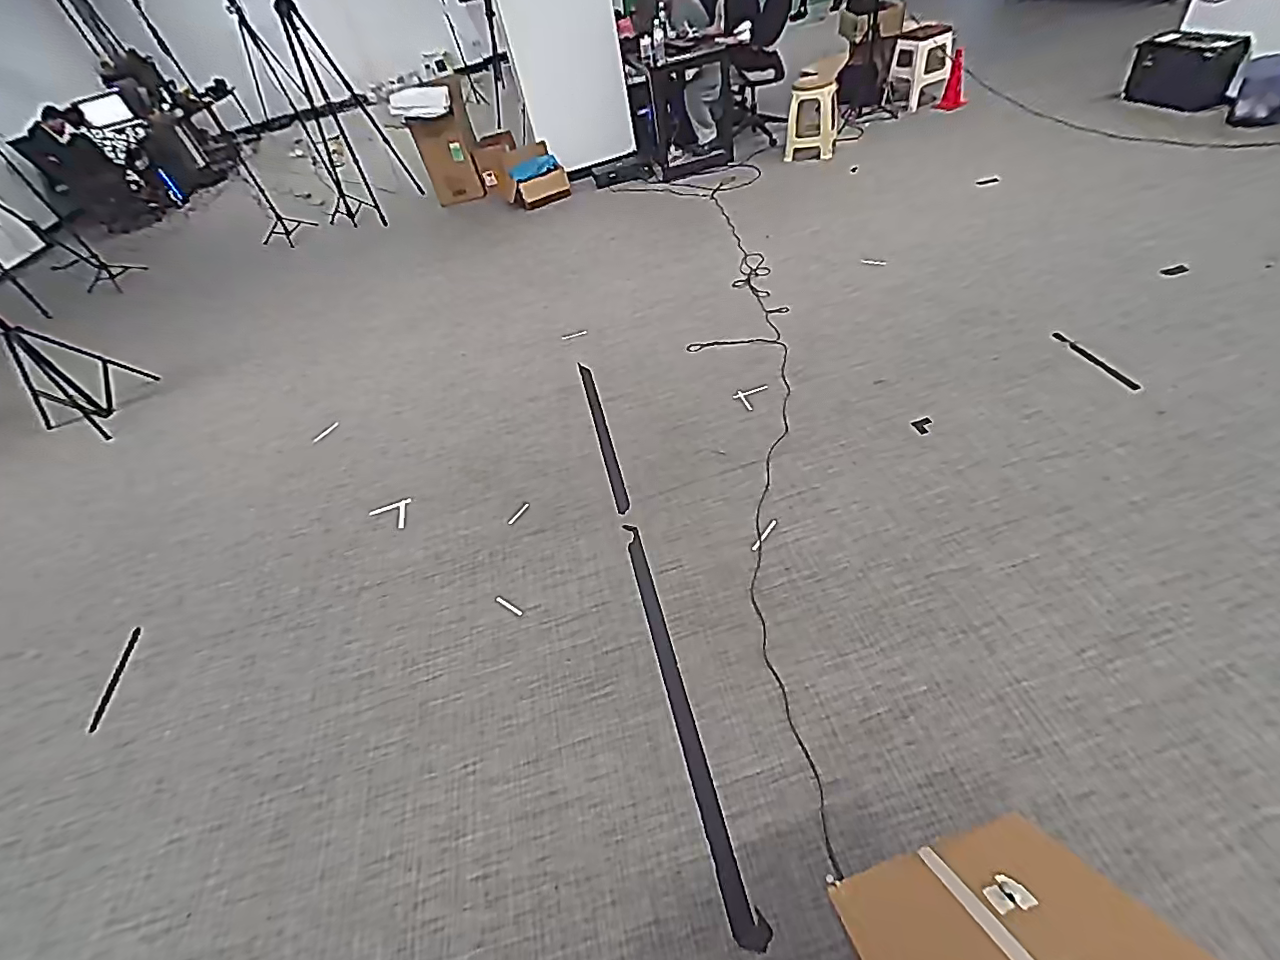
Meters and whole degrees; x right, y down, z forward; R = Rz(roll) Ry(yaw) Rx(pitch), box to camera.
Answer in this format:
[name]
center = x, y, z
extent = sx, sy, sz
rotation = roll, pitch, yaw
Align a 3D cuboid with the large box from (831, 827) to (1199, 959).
[large box]
center = 0.479, 0.691, 0.600
extent = 0.320, 0.408, 0.320
rotation = -18, 83, -2
